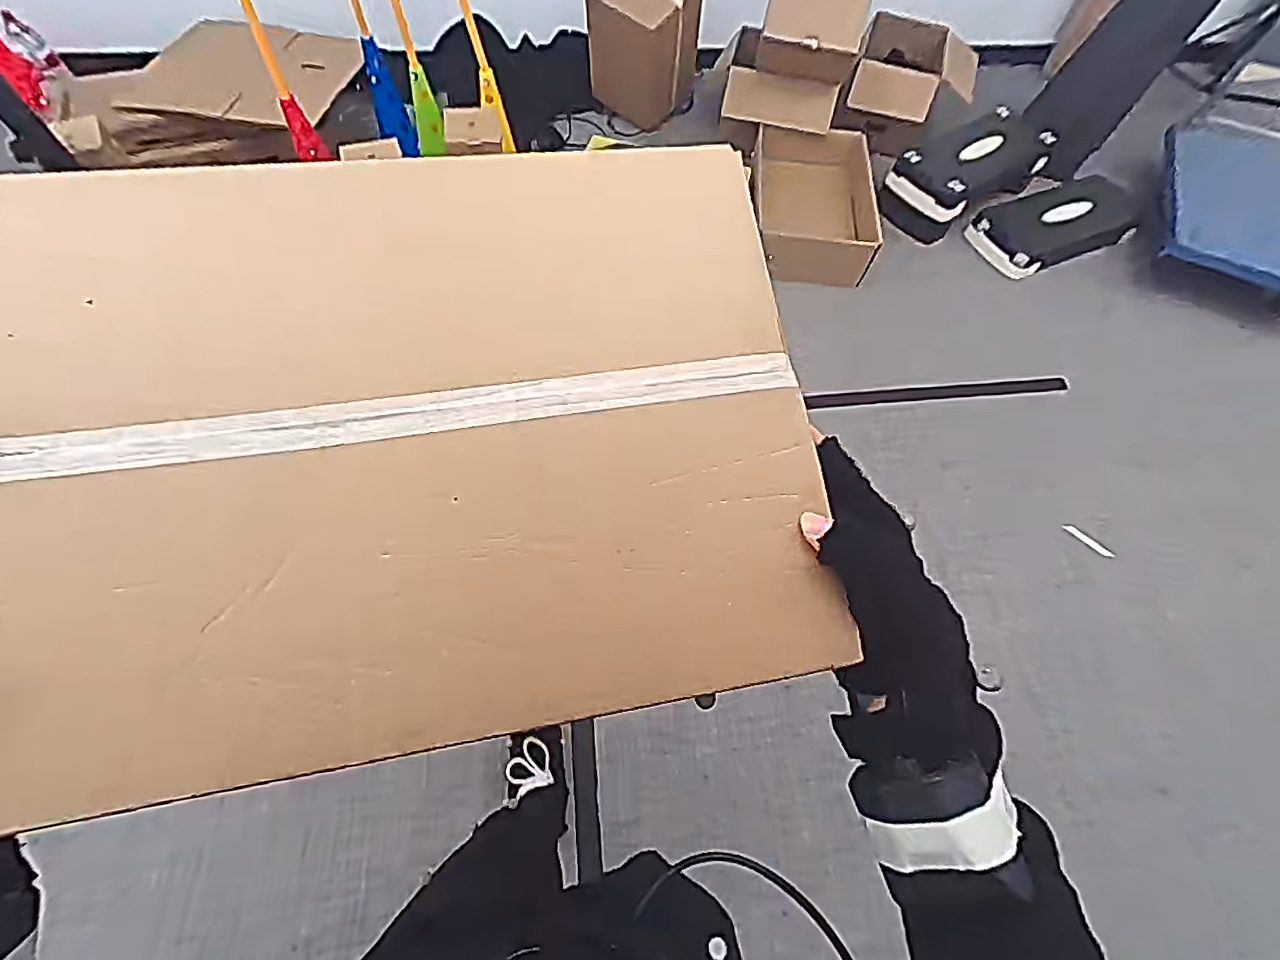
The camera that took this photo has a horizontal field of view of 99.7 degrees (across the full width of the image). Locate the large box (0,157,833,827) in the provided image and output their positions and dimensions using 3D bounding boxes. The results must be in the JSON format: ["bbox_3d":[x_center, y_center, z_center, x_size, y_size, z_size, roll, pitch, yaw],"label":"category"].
[{"bbox_3d":[-0.131,0.004,0.428,0.408,0.320,0.320,-8,77,-8],"label":"large box"}]
